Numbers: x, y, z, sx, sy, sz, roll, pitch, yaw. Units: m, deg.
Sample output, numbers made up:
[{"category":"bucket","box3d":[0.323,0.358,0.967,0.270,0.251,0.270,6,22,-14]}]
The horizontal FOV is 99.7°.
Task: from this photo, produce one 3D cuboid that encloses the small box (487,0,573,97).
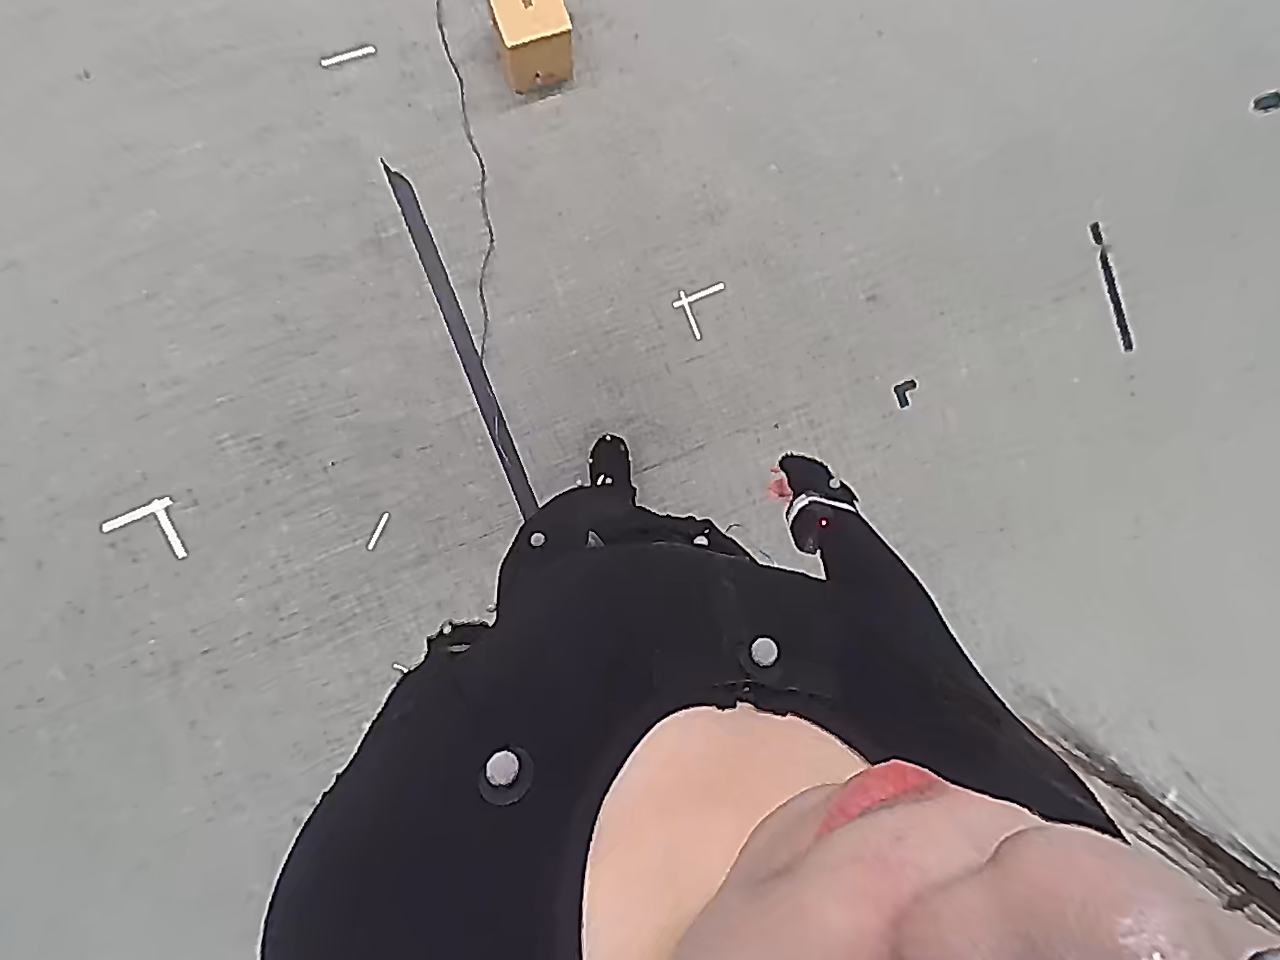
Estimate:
[{"category":"small box","box3d":[-0.272,-1.111,1.347,0.168,0.176,0.179,-20,95,-4]}]
